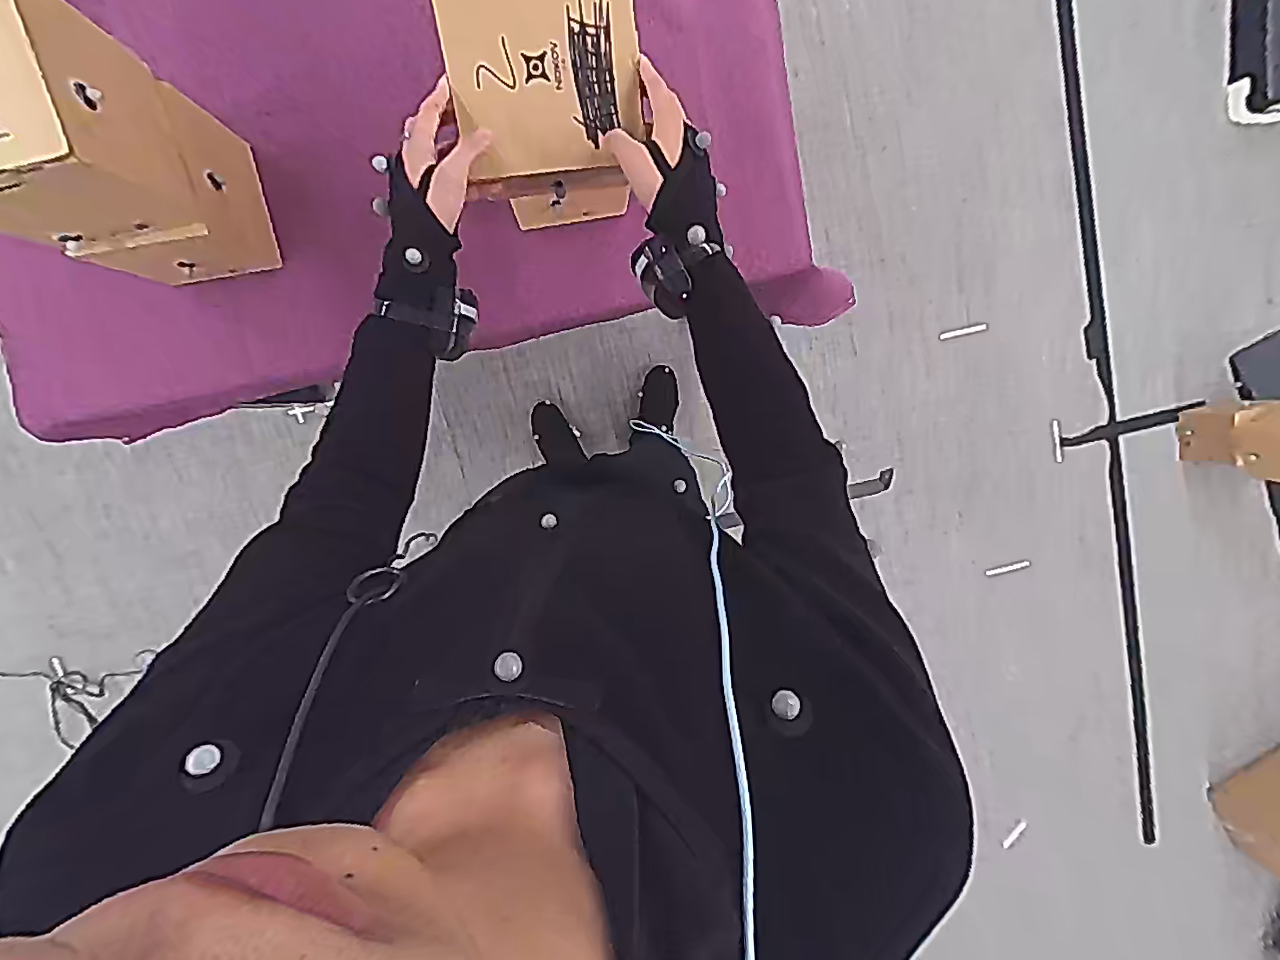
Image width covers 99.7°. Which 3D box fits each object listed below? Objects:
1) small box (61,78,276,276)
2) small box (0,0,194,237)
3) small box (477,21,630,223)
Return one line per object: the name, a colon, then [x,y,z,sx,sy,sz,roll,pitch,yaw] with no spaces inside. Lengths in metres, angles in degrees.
small box: [-0.620,-0.378,0.709,0.168,0.176,0.179,-11,99,-5]
small box: [-0.611,-0.364,0.545,0.168,0.176,0.179,-15,99,-4]
small box: [-0.110,-0.474,0.747,0.168,0.176,0.179,-11,99,-3]
